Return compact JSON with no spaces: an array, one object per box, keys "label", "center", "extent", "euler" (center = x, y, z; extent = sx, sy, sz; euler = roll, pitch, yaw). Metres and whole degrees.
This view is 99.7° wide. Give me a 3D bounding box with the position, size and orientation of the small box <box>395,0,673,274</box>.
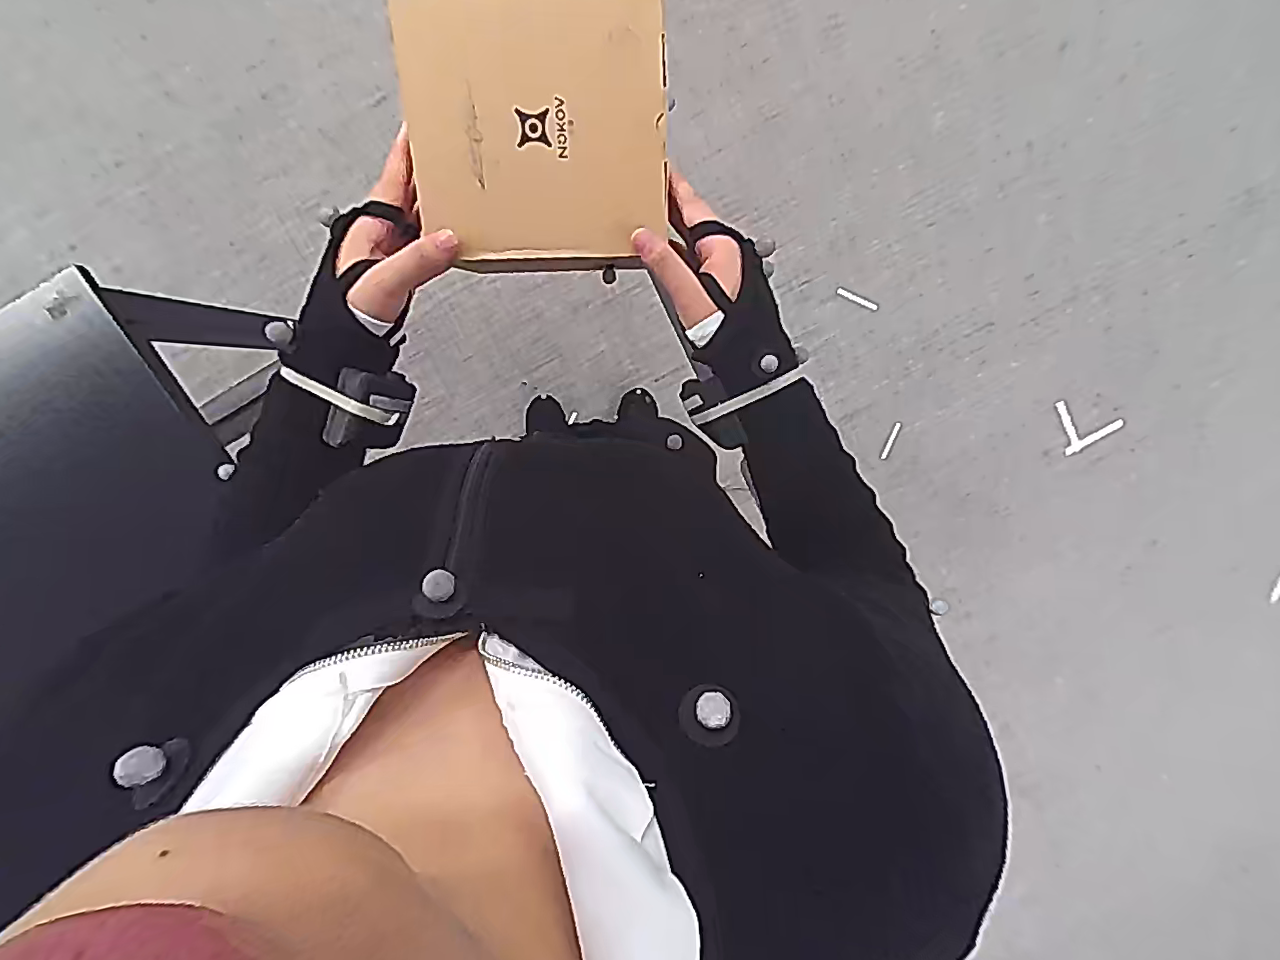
[{"label":"small box","center":[-0.071,-0.263,0.442],"extent":[0.179,0.176,0.168],"euler":[-3,107,-2]}]
